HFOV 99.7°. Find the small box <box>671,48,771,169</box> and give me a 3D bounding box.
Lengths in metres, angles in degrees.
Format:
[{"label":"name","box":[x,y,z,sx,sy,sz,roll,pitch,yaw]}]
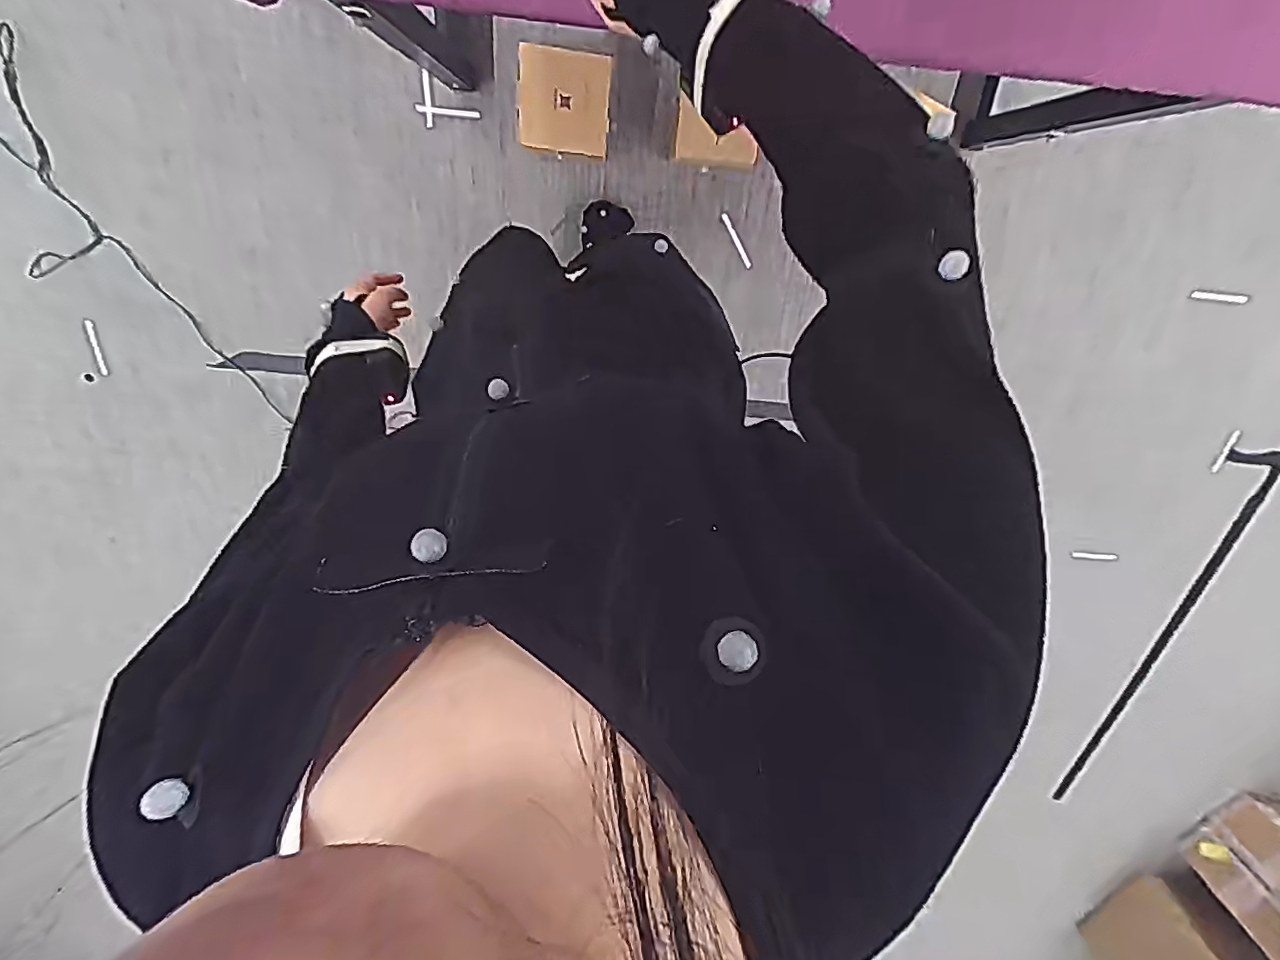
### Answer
[{"label":"small box","box":[0.156,-0.757,1.117,0.168,0.176,0.179,3,117,-3]}]
